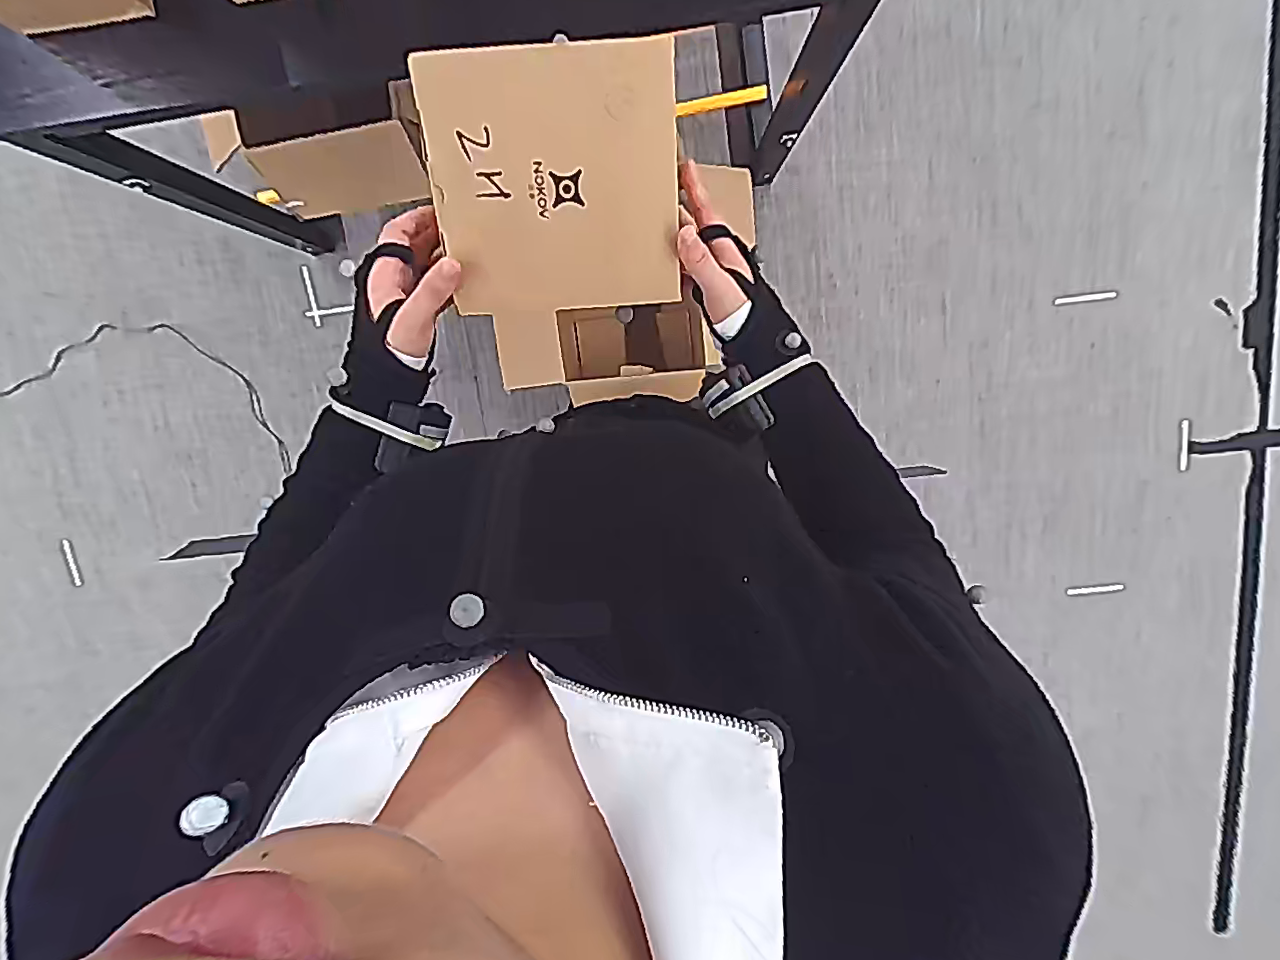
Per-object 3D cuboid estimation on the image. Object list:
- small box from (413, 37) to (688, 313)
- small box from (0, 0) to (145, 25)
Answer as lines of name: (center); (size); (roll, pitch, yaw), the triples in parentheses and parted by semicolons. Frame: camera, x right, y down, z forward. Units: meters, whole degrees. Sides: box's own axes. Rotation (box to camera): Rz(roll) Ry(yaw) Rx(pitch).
small box: (-0.058, -0.236, 0.447); (0.179, 0.176, 0.168); (-3, 113, 0)
small box: (-0.676, -0.613, 0.556); (0.179, 0.176, 0.168); (-6, 101, 1)
